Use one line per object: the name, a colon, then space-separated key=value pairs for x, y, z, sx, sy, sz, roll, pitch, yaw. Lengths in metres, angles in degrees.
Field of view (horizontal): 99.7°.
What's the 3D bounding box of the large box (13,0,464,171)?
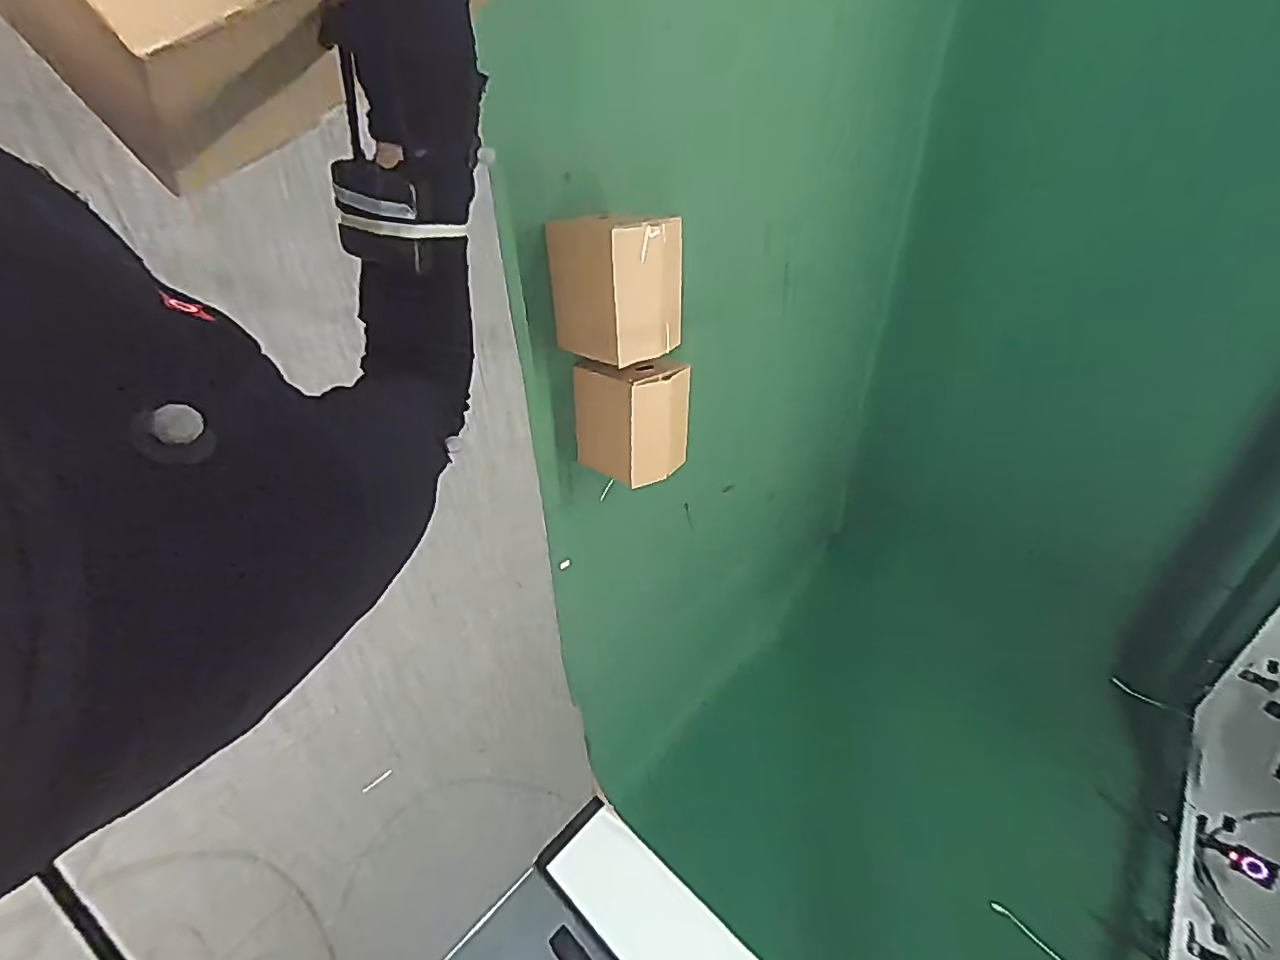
large box: x=-0.305 y=-0.471 z=0.294 sx=0.320 sy=0.320 sz=0.408 roll=-46 pitch=126 yaw=-18
